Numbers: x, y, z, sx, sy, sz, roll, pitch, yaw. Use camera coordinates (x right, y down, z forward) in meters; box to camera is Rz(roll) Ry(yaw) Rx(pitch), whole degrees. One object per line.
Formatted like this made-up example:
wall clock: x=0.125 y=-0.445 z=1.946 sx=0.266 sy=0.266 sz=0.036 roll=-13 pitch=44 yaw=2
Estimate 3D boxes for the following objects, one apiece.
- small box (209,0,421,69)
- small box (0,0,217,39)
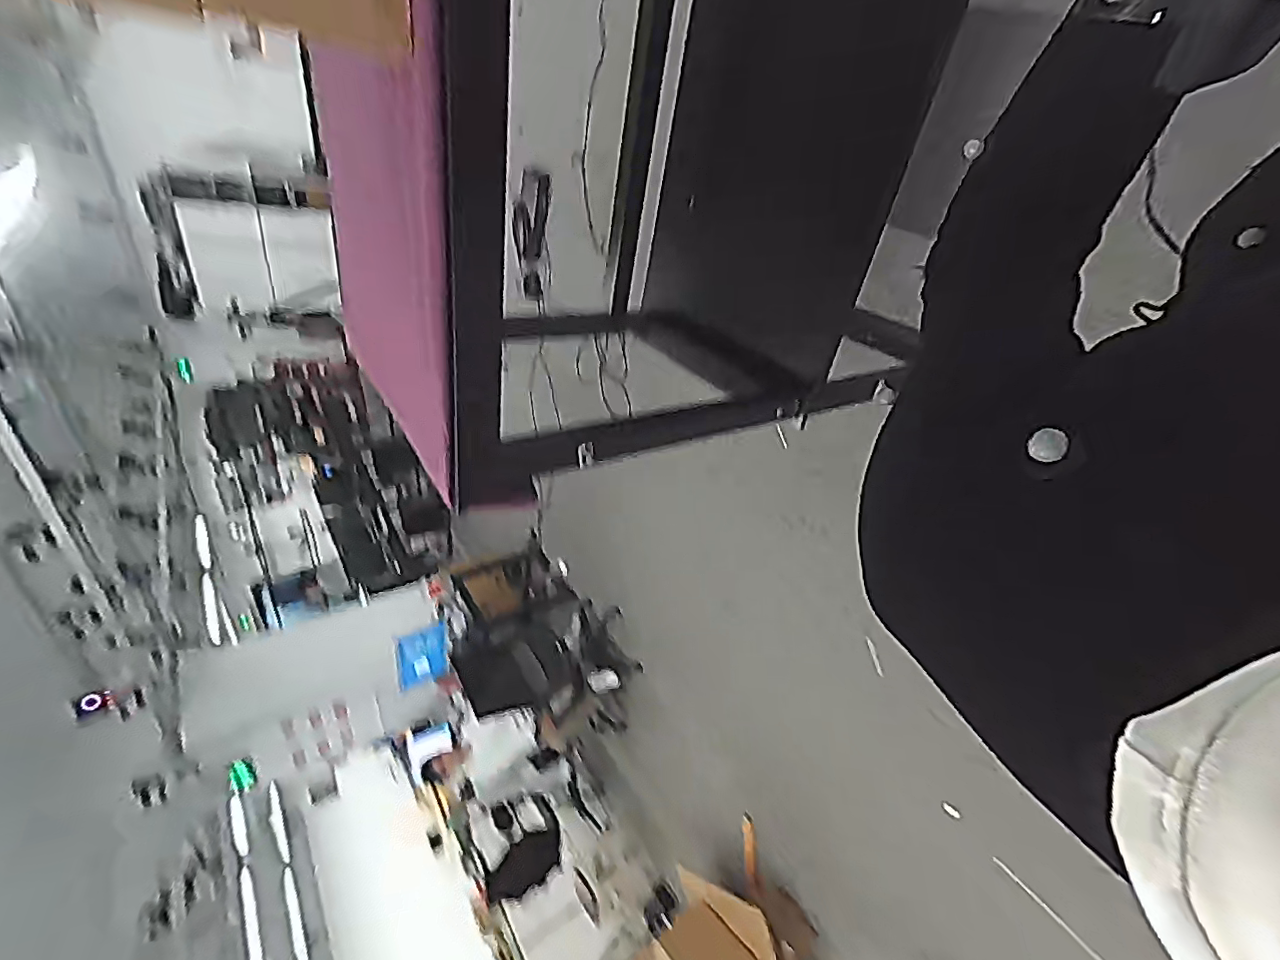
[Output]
small box: x=-0.311 y=-0.497 z=0.494 sx=0.179 sy=0.176 sz=0.168 roll=45 pitch=138 yaw=38
small box: x=-0.443 y=-0.456 z=0.405 sx=0.168 sy=0.176 sz=0.179 roll=45 pitch=138 yaw=38
